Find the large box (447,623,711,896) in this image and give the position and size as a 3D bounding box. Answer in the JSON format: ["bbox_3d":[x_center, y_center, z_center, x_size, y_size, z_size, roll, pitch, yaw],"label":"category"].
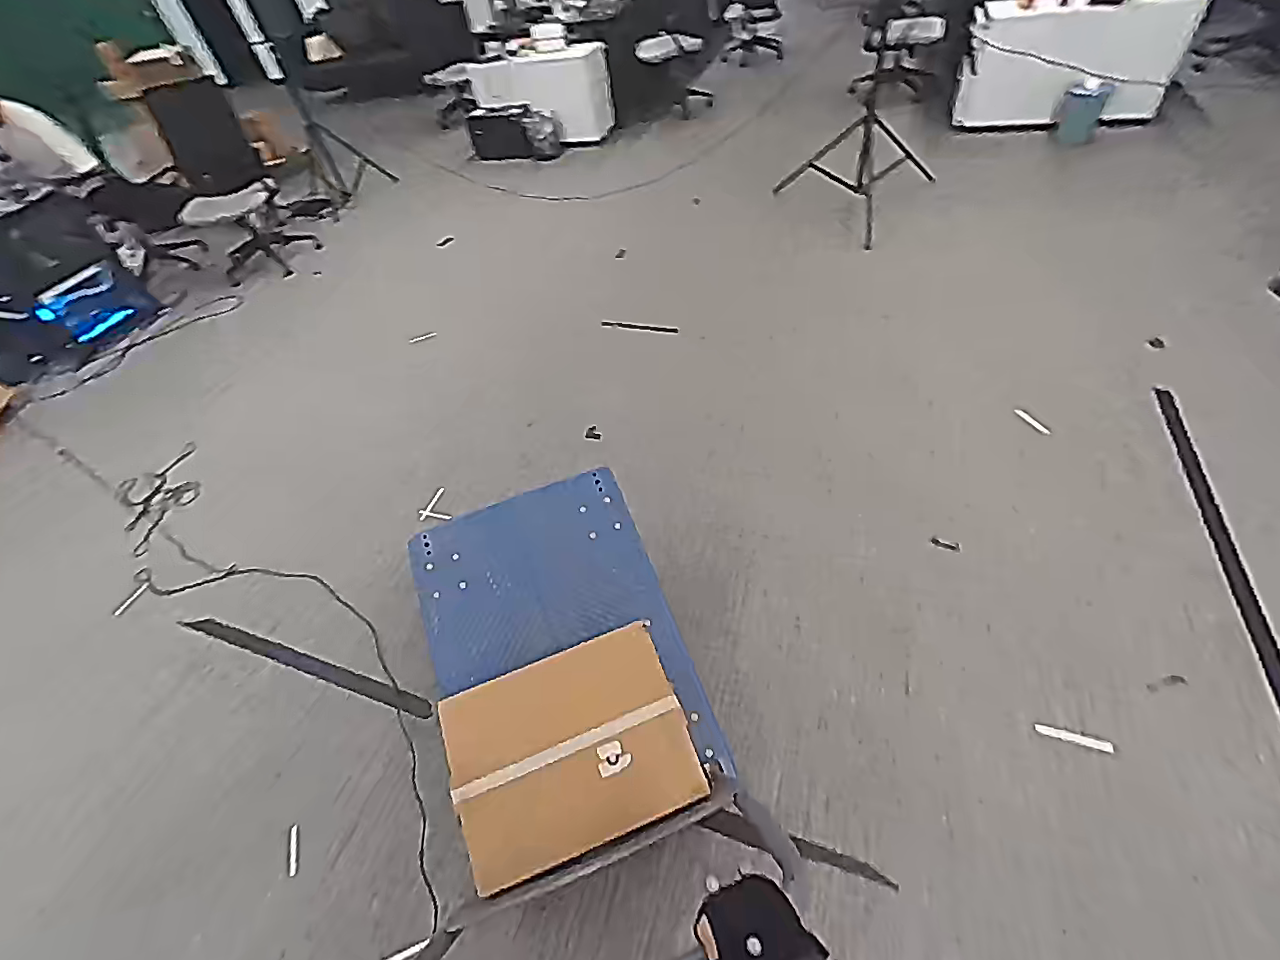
[{"bbox_3d":[-0.114,0.539,1.089,0.408,0.320,0.320,-21,66,-9],"label":"large box"}]
